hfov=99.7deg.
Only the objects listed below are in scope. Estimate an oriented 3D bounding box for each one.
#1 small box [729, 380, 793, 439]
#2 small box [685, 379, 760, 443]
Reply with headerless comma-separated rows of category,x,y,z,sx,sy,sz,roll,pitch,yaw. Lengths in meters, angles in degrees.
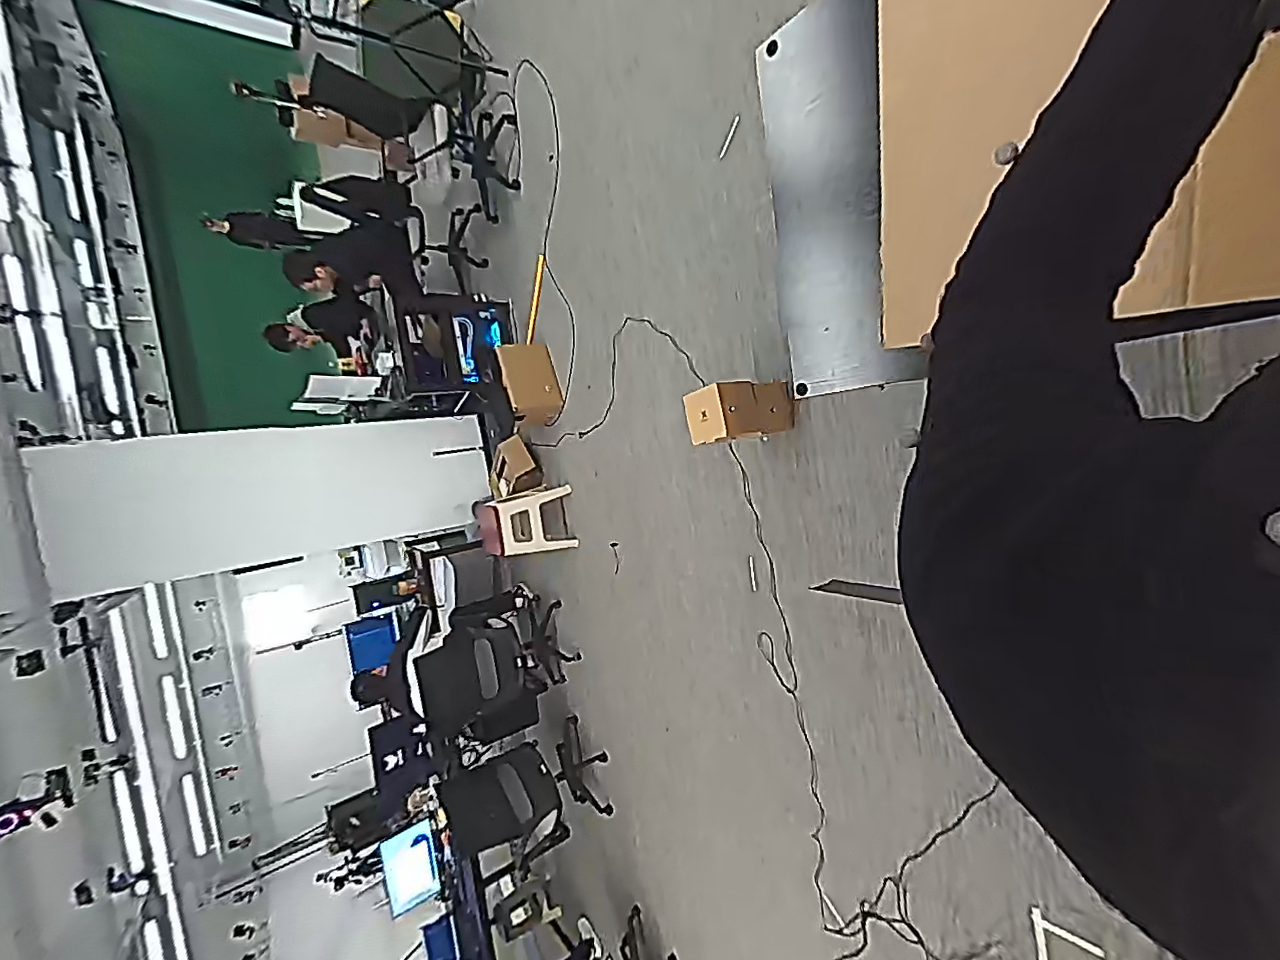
small box,0.411,-0.246,1.886,0.168,0.176,0.179,-9,92,55
small box,0.278,-0.229,1.794,0.168,0.176,0.179,-14,85,54
